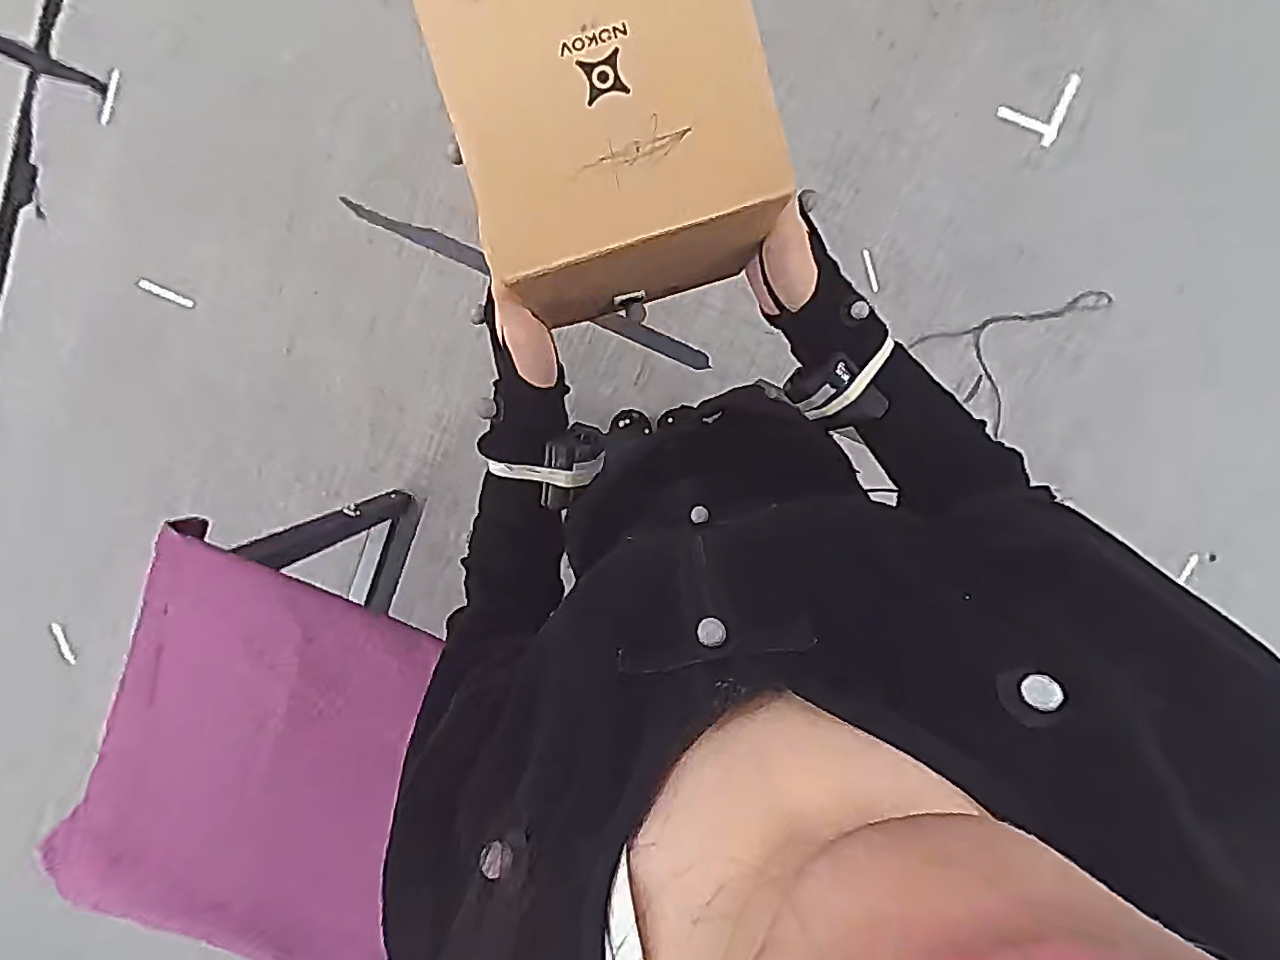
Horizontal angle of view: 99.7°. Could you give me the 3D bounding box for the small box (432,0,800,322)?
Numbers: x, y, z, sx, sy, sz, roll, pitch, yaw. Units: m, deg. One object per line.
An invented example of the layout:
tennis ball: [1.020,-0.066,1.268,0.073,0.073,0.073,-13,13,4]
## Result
small box: [-0.016,-0.223,0.359,0.168,0.176,0.179,-16,97,2]
